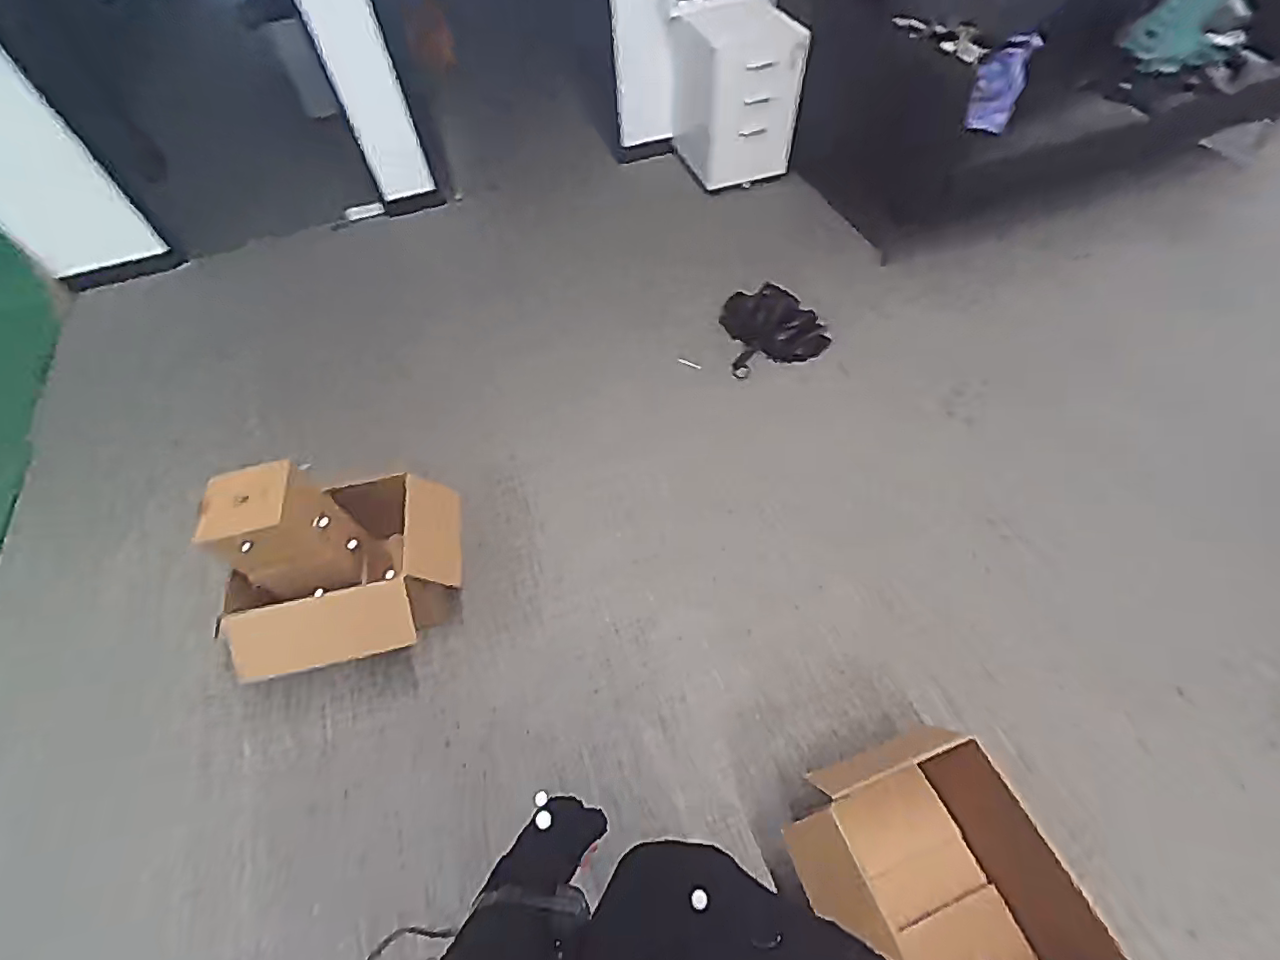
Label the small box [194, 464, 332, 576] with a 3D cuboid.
[{"bbox_3d":[-0.816,0.094,1.190,0.179,0.176,0.168,-14,58,-4],"label":"small box"}]
